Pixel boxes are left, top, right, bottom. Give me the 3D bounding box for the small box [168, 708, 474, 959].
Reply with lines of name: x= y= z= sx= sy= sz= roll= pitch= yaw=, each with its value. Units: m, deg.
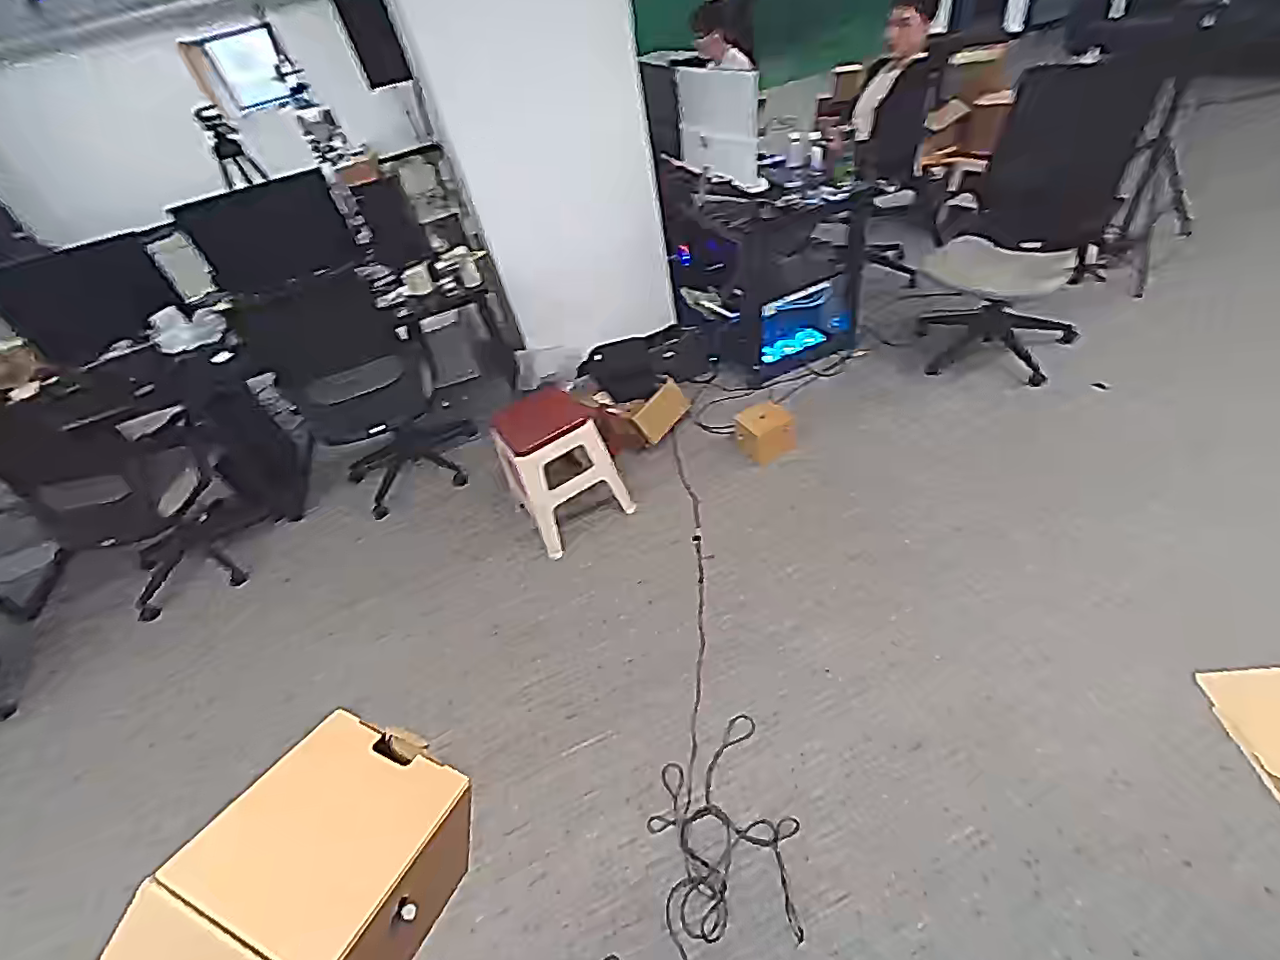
small box: x=-0.275 y=0.364 z=0.506 sx=0.168 sy=0.176 sz=0.179 roll=20 pitch=28 yaw=15
